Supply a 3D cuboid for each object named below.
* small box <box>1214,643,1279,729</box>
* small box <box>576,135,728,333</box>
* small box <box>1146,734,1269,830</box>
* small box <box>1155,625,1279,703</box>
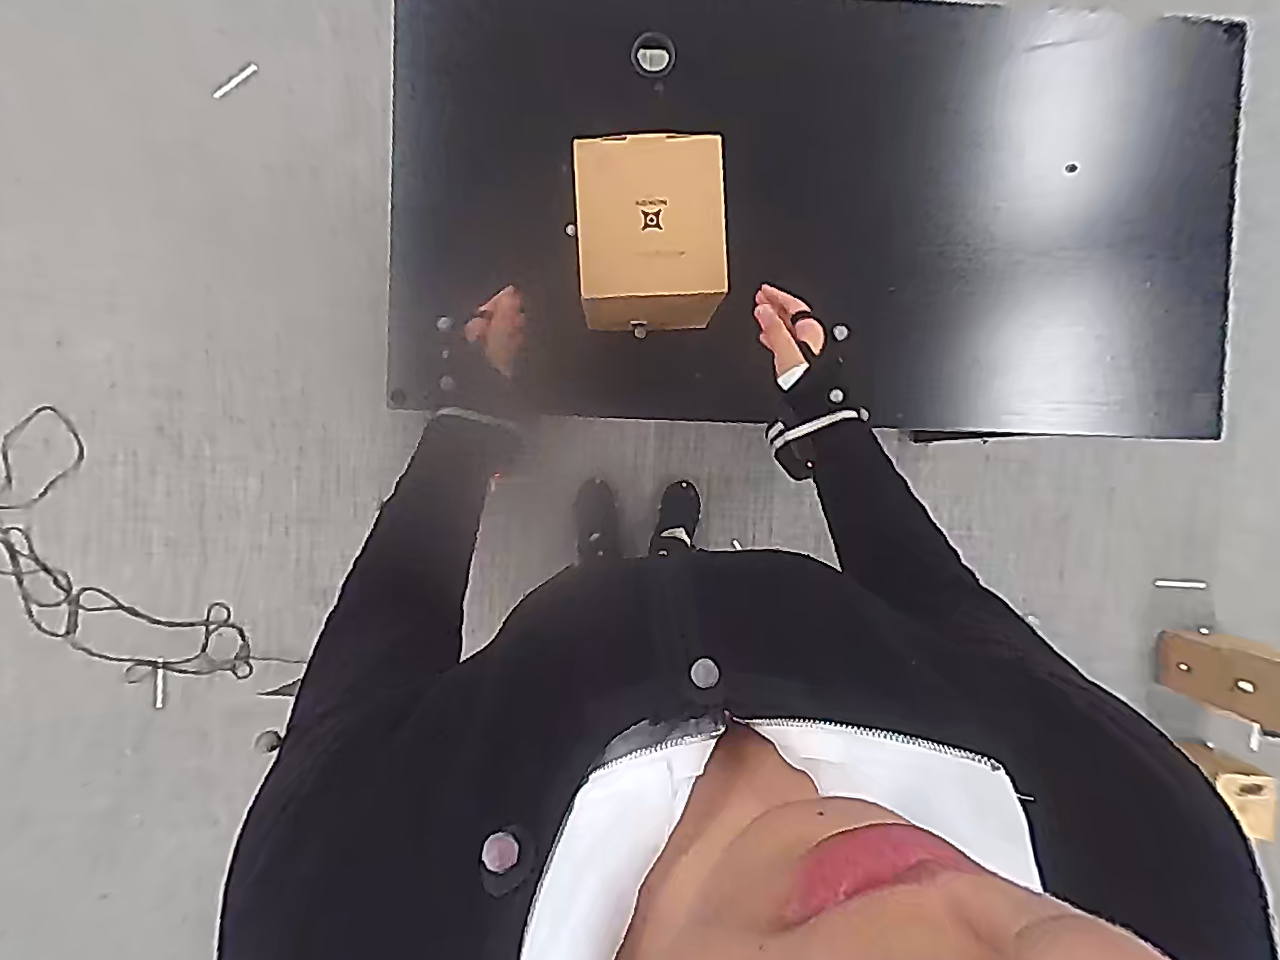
[{"bbox_3d":[1.607,0.517,1.340,0.179,0.176,0.168,7,92,-2],"label":"small box"},{"bbox_3d":[0.010,-0.294,0.678,0.168,0.176,0.179,-4,93,-1],"label":"small box"},{"bbox_3d":[1.584,0.843,1.521,0.168,0.176,0.179,5,93,-2],"label":"small box"},{"bbox_3d":[1.597,0.508,1.506,0.179,0.176,0.168,2,92,-2],"label":"small box"}]
